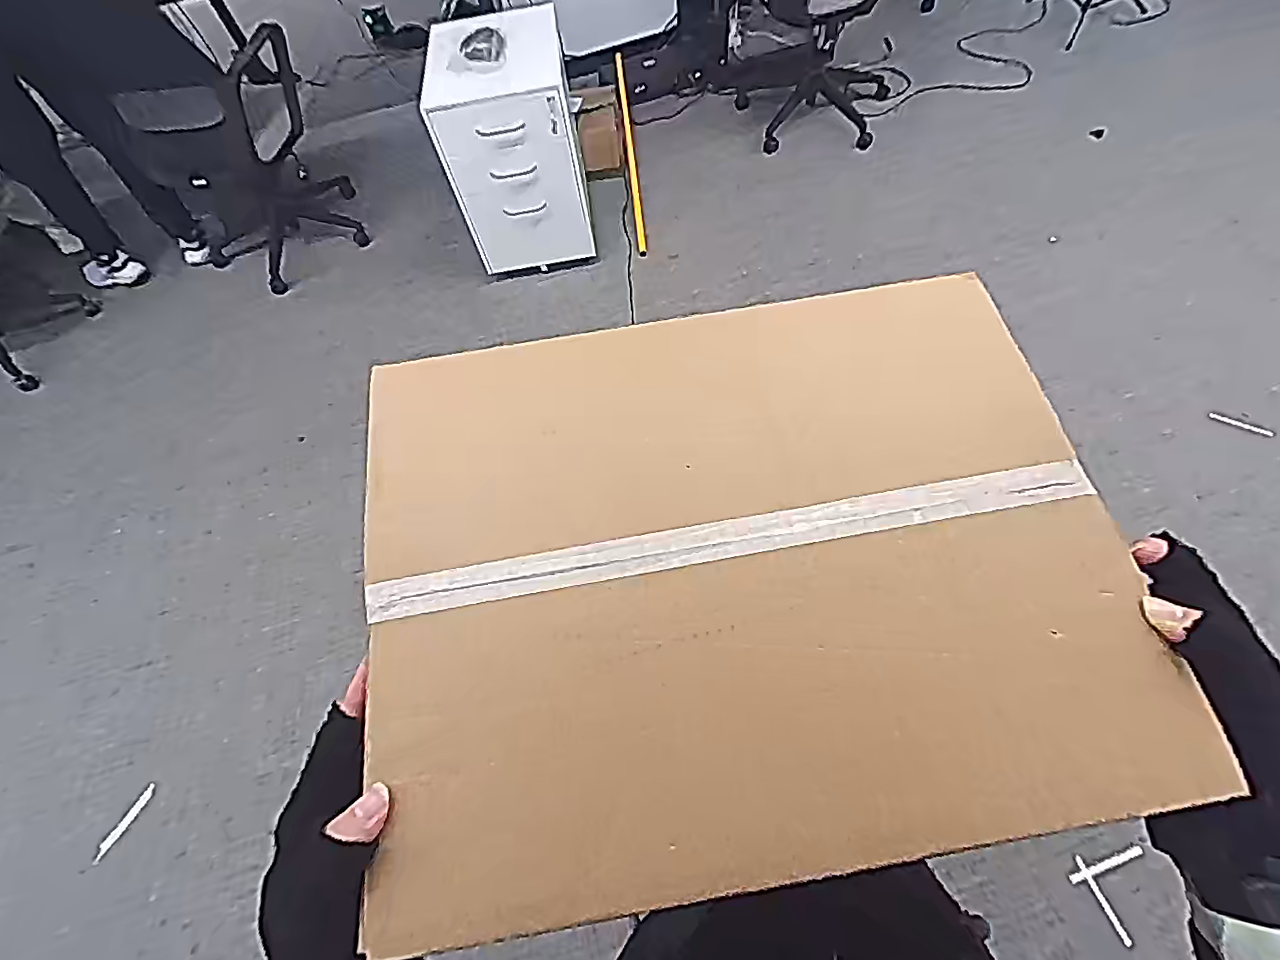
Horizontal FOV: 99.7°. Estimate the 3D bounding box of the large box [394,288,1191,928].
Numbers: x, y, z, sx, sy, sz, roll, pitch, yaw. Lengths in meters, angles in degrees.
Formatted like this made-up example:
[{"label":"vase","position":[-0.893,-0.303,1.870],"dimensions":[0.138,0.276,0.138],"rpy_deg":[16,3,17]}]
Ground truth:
[{"label":"large box","position":[0.058,0.095,0.454],"dimensions":[0.408,0.320,0.320],"rpy_deg":[-10,68,-2]}]
